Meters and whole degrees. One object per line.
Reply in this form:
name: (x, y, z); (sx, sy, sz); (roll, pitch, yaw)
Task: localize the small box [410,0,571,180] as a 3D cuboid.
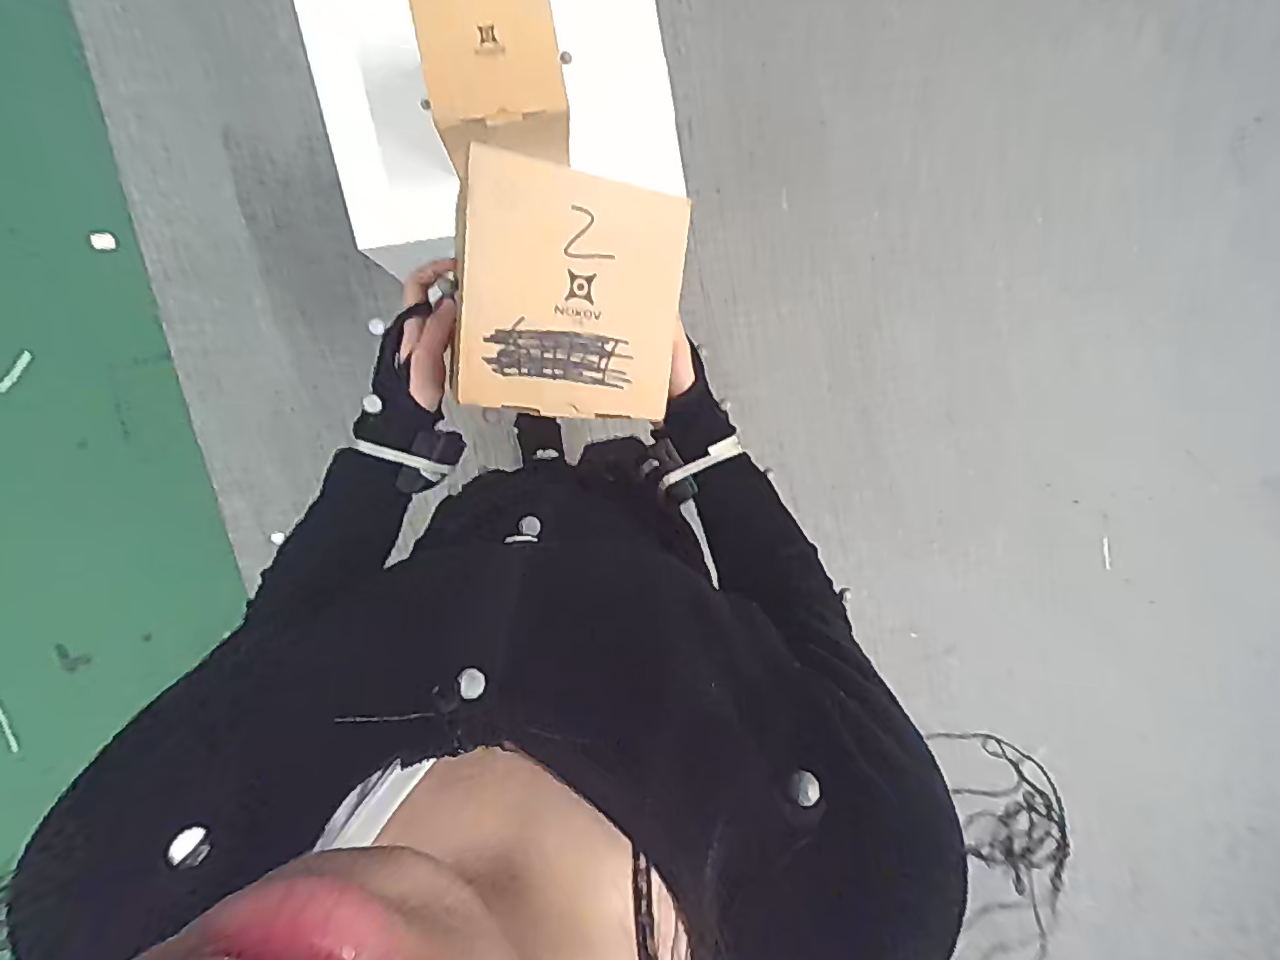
small box: (-0.188, -0.528, 0.709); (0.168, 0.176, 0.179); (-11, 98, -6)
